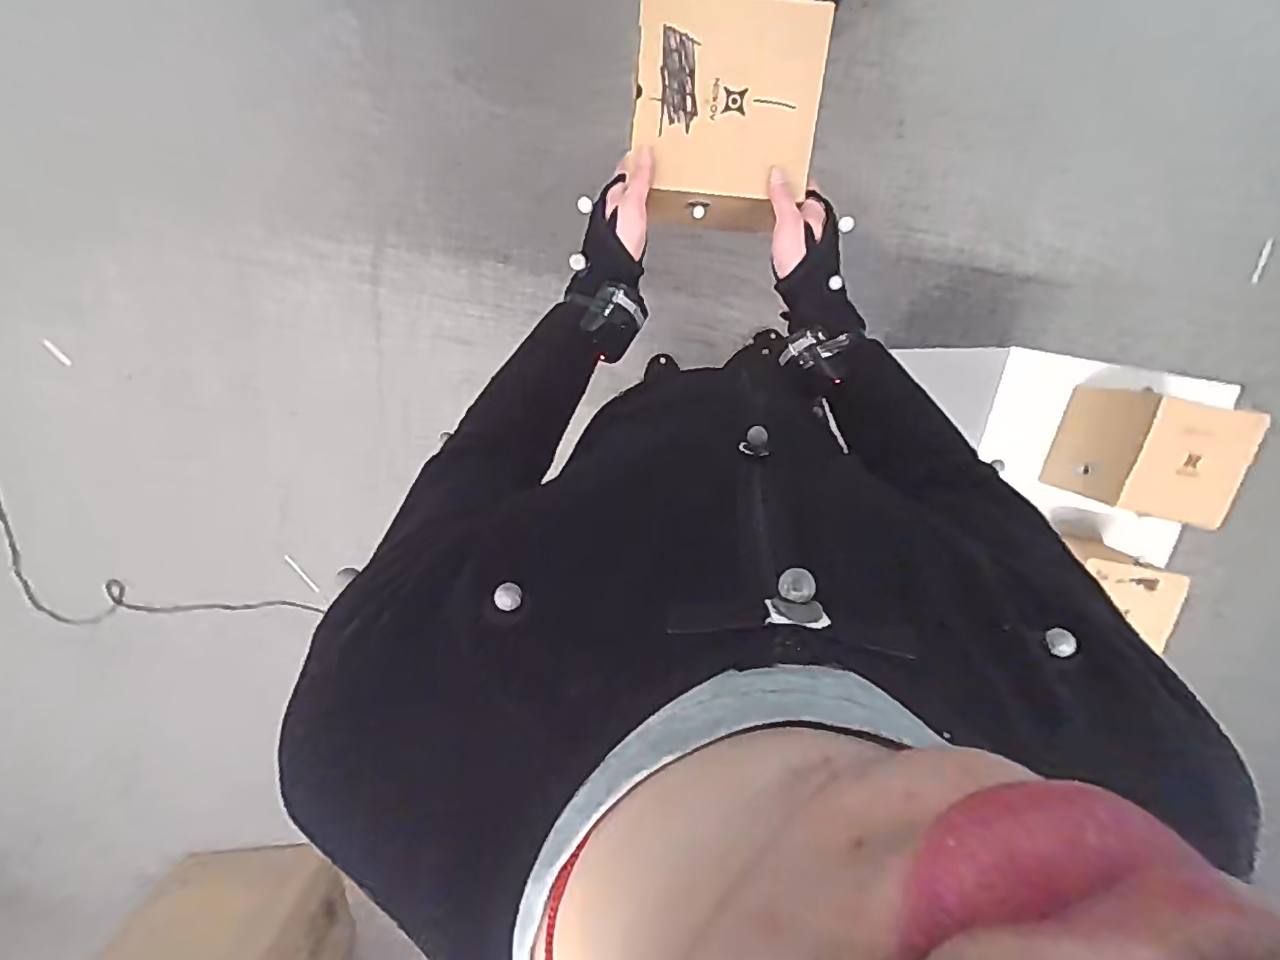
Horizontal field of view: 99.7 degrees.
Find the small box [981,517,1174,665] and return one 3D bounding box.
[{"bbox_3d":[0.731,0.183,0.930,0.168,0.176,0.179,11,104,-3],"label":"small box"}]

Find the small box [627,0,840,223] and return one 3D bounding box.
[{"bbox_3d":[0.084,-0.379,0.569,0.179,0.176,0.168,6,106,0],"label":"small box"}]
